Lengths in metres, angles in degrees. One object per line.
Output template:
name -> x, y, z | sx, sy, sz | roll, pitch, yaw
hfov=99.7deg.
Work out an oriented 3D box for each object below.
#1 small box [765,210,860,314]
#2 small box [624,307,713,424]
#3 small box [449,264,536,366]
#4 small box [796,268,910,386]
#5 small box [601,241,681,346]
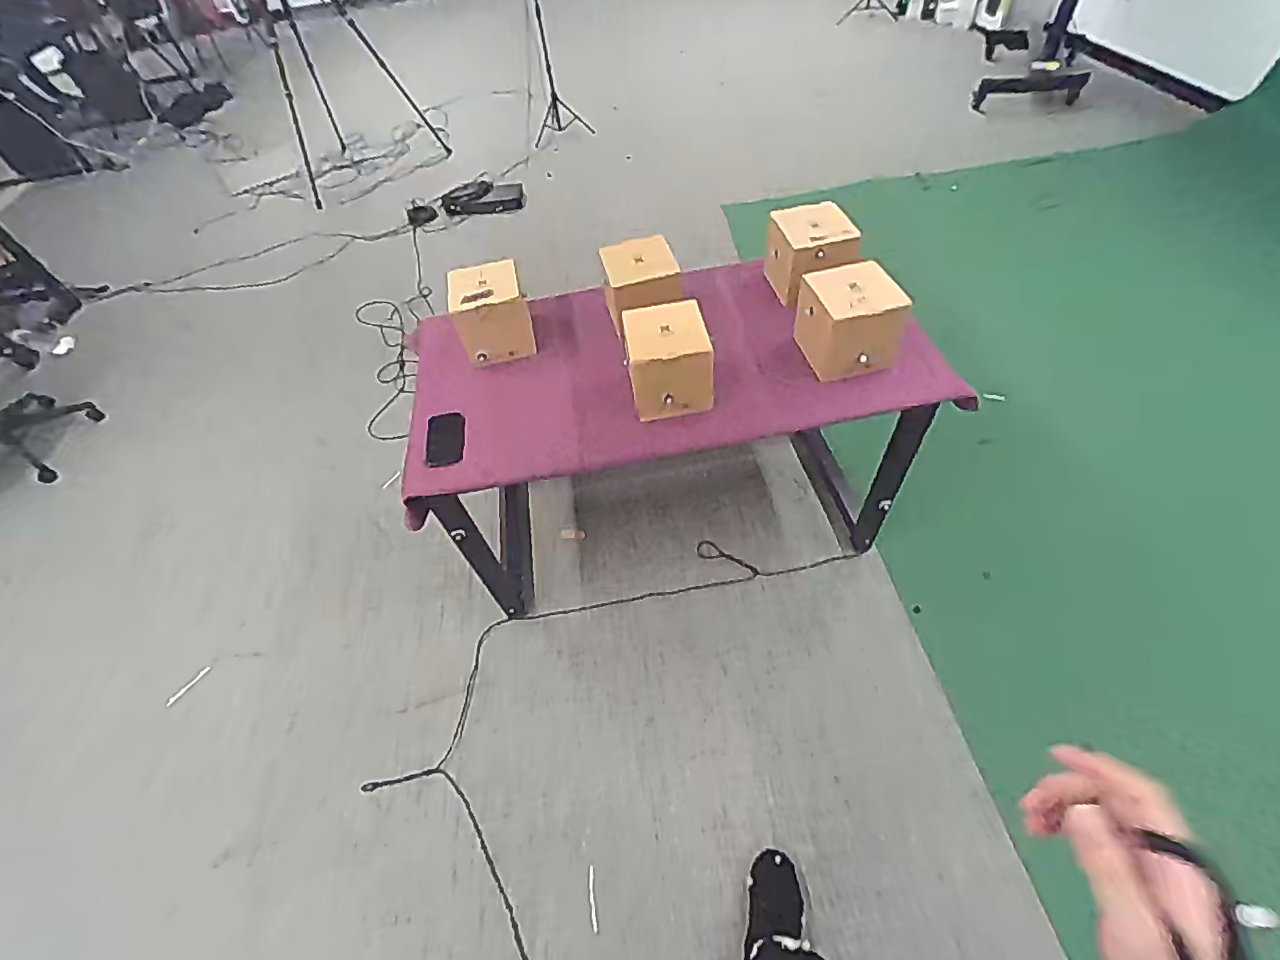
small box -> 0.424, -0.548, 1.365 | 0.168, 0.176, 0.179 | -12, 52, -2
small box -> 0.060, -0.247, 1.176 | 0.168, 0.176, 0.179 | -9, 51, -1
small box -> -0.362, -0.400, 1.340 | 0.168, 0.176, 0.179 | -13, 52, -4
small box -> 0.456, -0.335, 1.194 | 0.168, 0.176, 0.179 | -12, 51, -1
small box -> 0.004, -0.460, 1.347 | 0.168, 0.176, 0.179 | -13, 53, -3
